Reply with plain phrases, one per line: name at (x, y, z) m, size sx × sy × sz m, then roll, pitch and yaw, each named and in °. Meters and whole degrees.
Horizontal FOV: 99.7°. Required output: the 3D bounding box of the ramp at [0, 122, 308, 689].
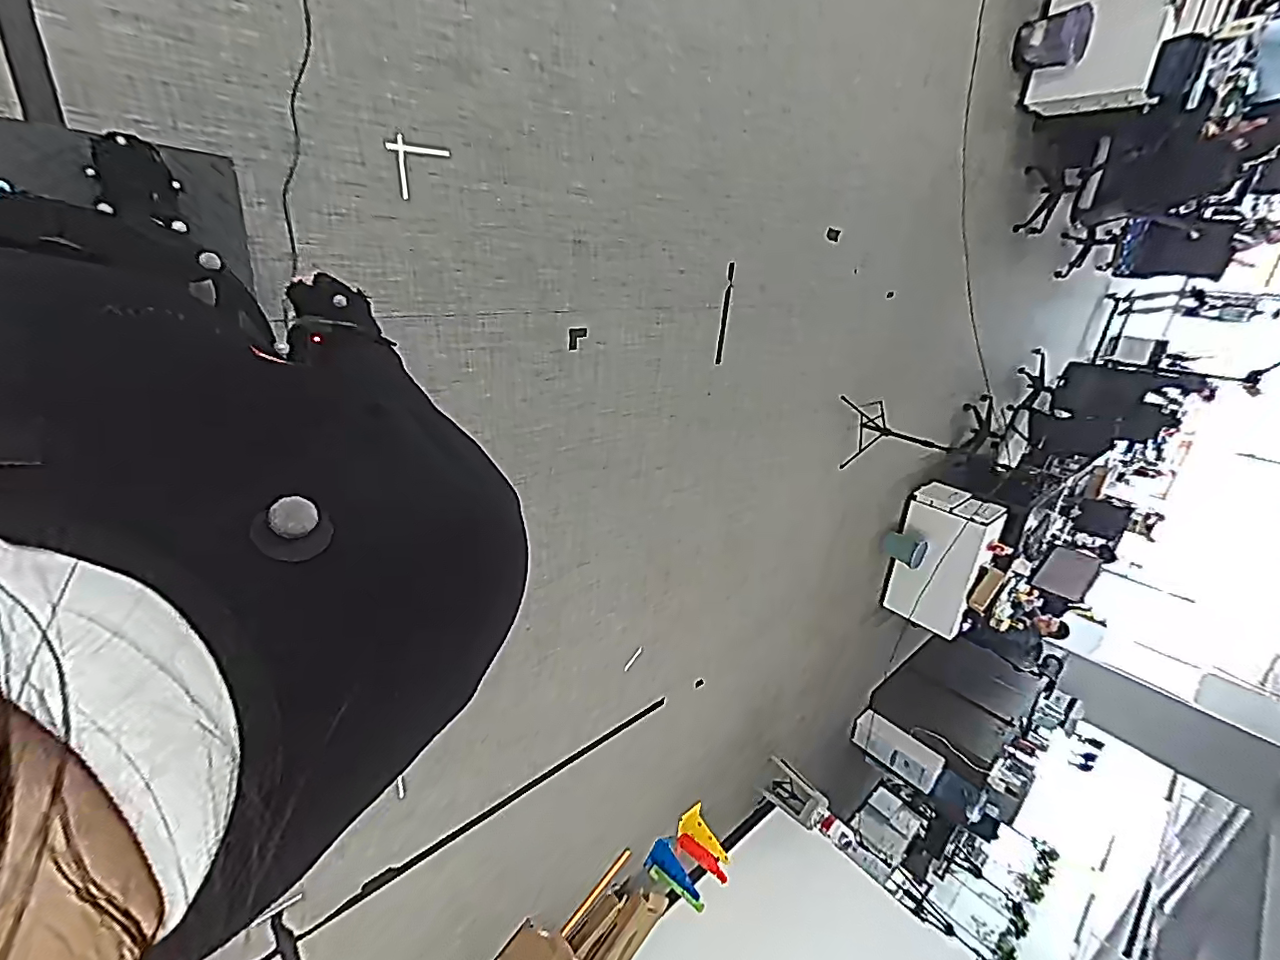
ramp at (-1.013, -0.128, 1.060) m, size 0.509 × 0.206 × 0.991 m, roll -14°, pitch 118°, yaw -38°
